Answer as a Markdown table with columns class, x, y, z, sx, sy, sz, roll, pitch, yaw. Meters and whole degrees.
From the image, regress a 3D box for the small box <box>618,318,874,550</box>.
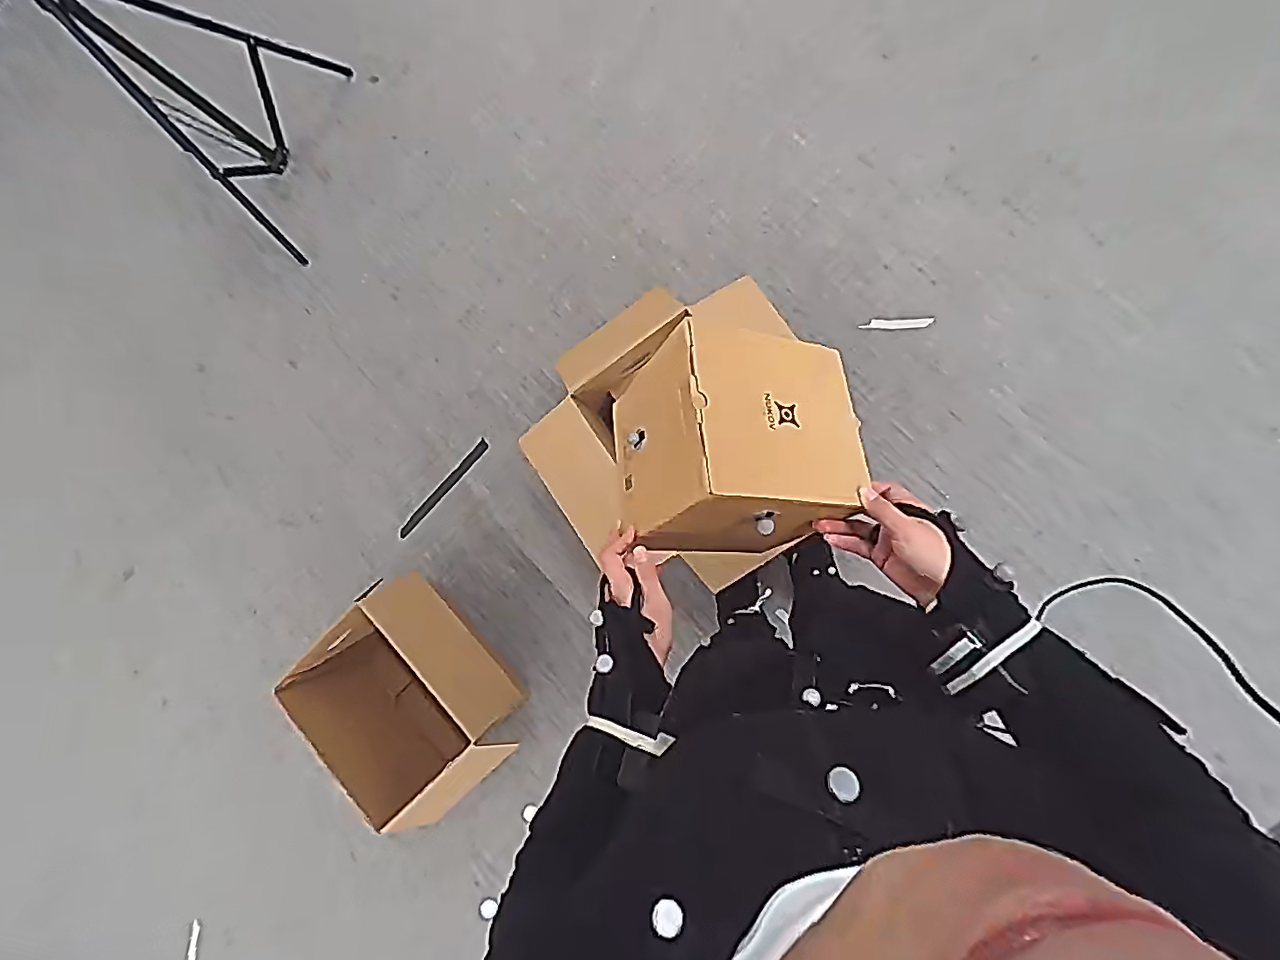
| class | x | y | z | sx | sy | sz | roll | pitch | yaw |
| --- | --- | --- | --- | --- | --- | --- | --- | --- | --- |
| small box | 0.092 | -0.029 | 0.539 | 0.179 | 0.176 | 0.168 | 5 | 68 | -24 |
